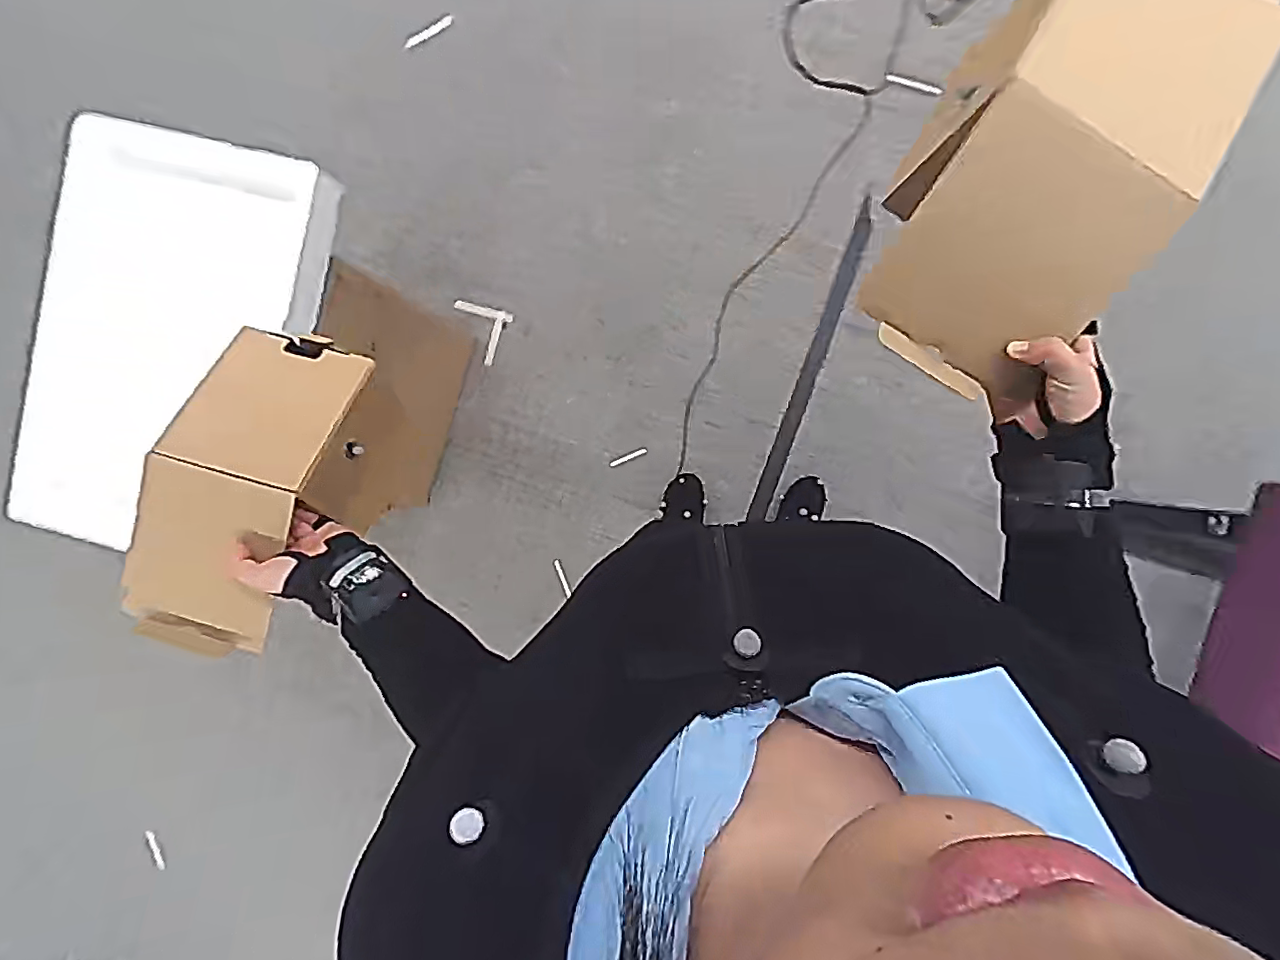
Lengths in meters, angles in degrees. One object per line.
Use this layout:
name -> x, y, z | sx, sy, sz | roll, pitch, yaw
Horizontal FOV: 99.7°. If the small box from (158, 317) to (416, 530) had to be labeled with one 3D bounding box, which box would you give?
small box -> -0.398, -0.058, 0.654 | 0.168, 0.176, 0.179 | 16, 65, 2
